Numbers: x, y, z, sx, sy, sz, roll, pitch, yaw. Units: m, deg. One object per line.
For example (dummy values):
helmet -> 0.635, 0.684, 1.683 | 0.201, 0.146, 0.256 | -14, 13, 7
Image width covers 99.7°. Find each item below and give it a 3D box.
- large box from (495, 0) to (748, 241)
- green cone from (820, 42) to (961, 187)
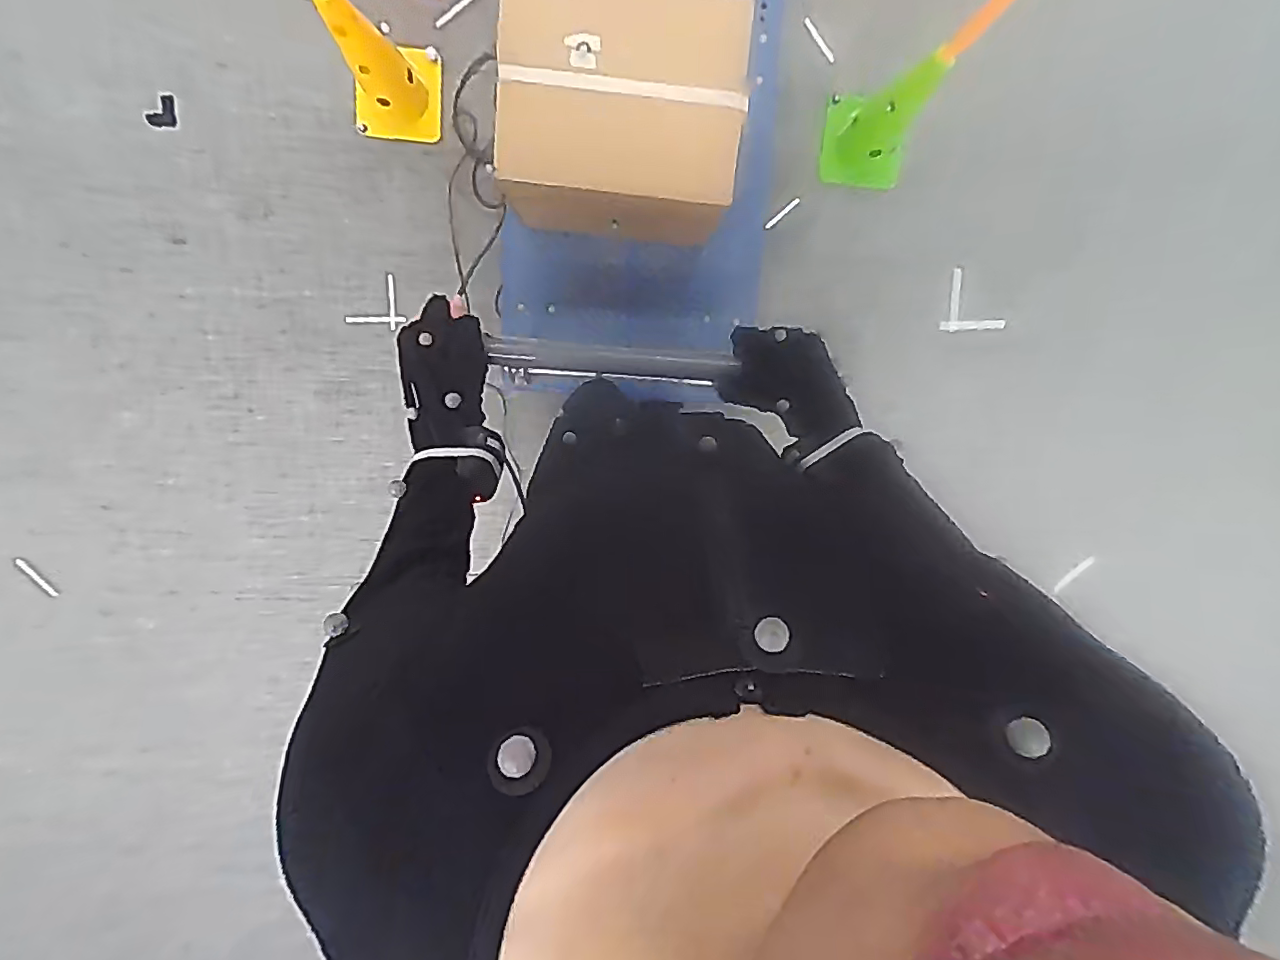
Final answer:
large box -> -0.035, -0.665, 1.034 | 0.408, 0.320, 0.320 | 5, 101, -2
green cone -> 0.558, -0.810, 1.169 | 0.202, 0.368, 0.200 | 4, 100, -3
